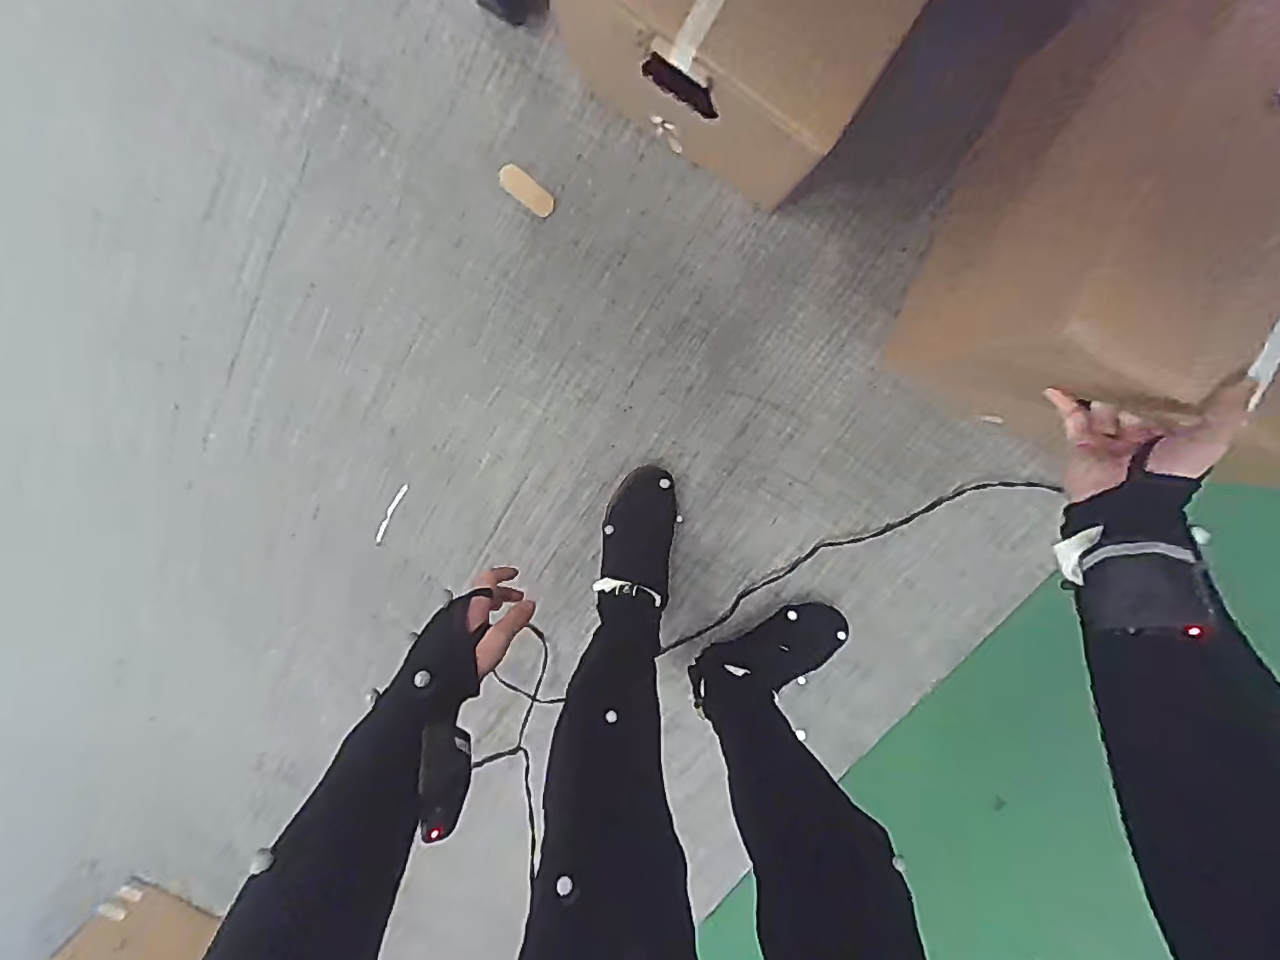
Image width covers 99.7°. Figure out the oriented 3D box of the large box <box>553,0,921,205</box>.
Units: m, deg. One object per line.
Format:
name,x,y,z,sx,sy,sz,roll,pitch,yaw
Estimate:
large box,0.146,-0.574,0.548,0.320,0.320,0.408,31,106,-6
